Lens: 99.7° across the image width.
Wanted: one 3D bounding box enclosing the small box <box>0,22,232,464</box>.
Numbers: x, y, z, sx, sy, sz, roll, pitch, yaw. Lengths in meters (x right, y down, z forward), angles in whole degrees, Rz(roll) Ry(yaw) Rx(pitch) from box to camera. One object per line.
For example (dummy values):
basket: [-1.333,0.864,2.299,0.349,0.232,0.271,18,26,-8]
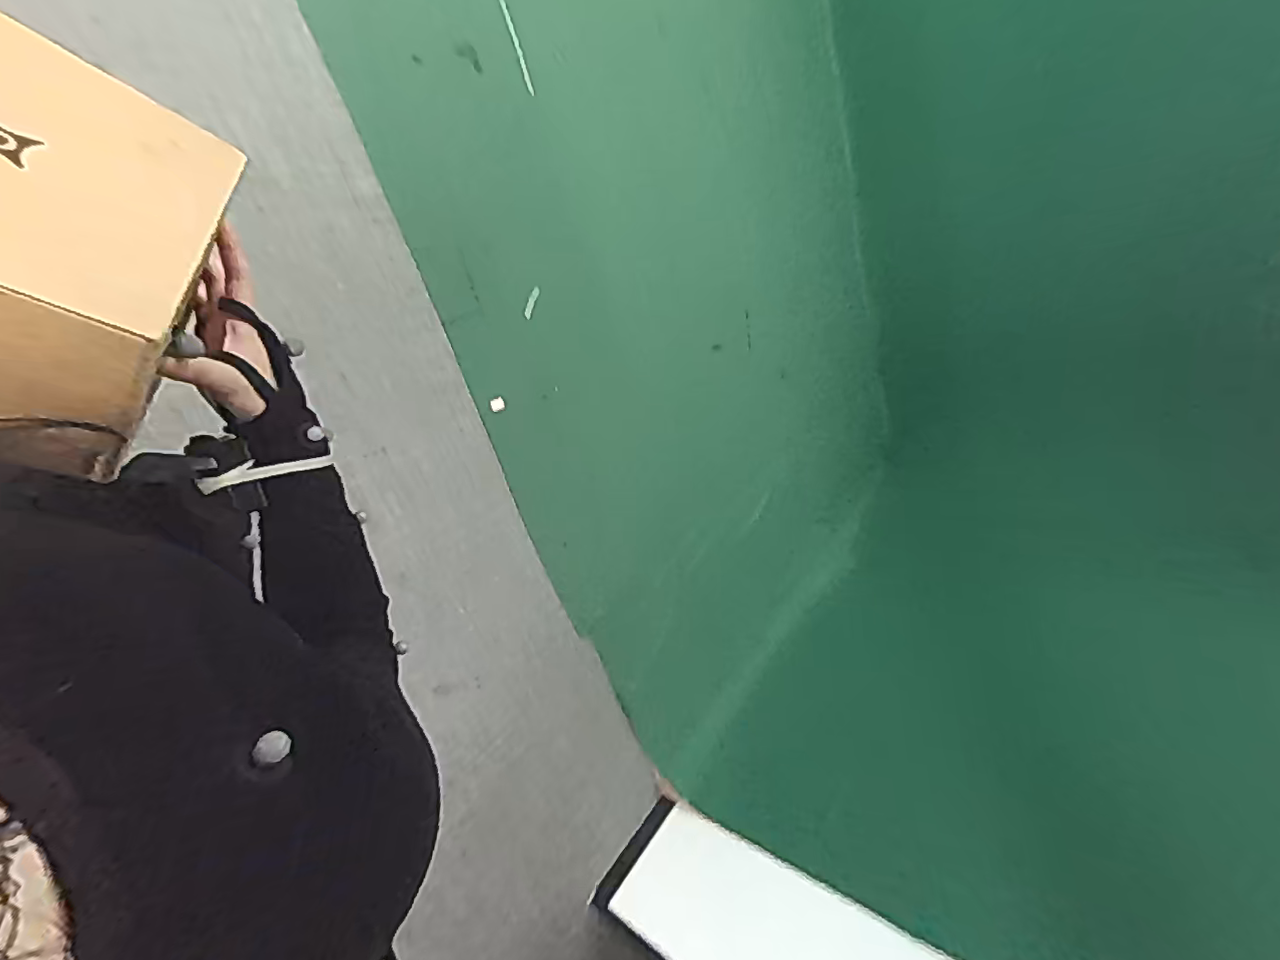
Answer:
small box: [-0.370,-0.127,0.298,0.179,0.176,0.168,21,50,-40]
